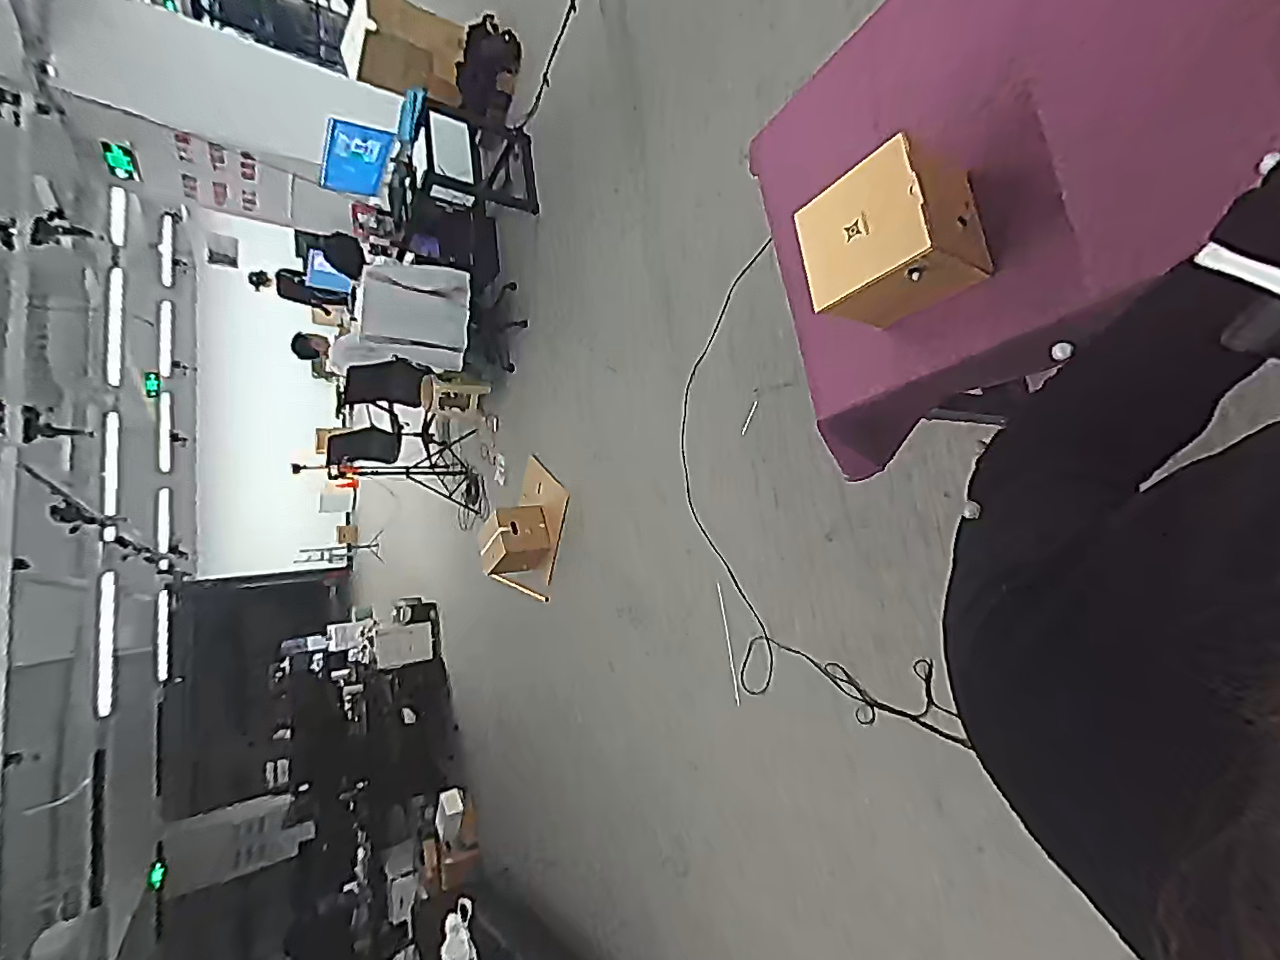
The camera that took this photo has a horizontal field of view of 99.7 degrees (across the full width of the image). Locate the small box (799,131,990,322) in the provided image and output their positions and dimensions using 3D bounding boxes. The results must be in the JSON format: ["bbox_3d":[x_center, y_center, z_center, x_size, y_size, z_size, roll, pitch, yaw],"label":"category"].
[{"bbox_3d":[0.366,-0.350,0.789,0.179,0.176,0.168,-22,72,53],"label":"small box"}]
